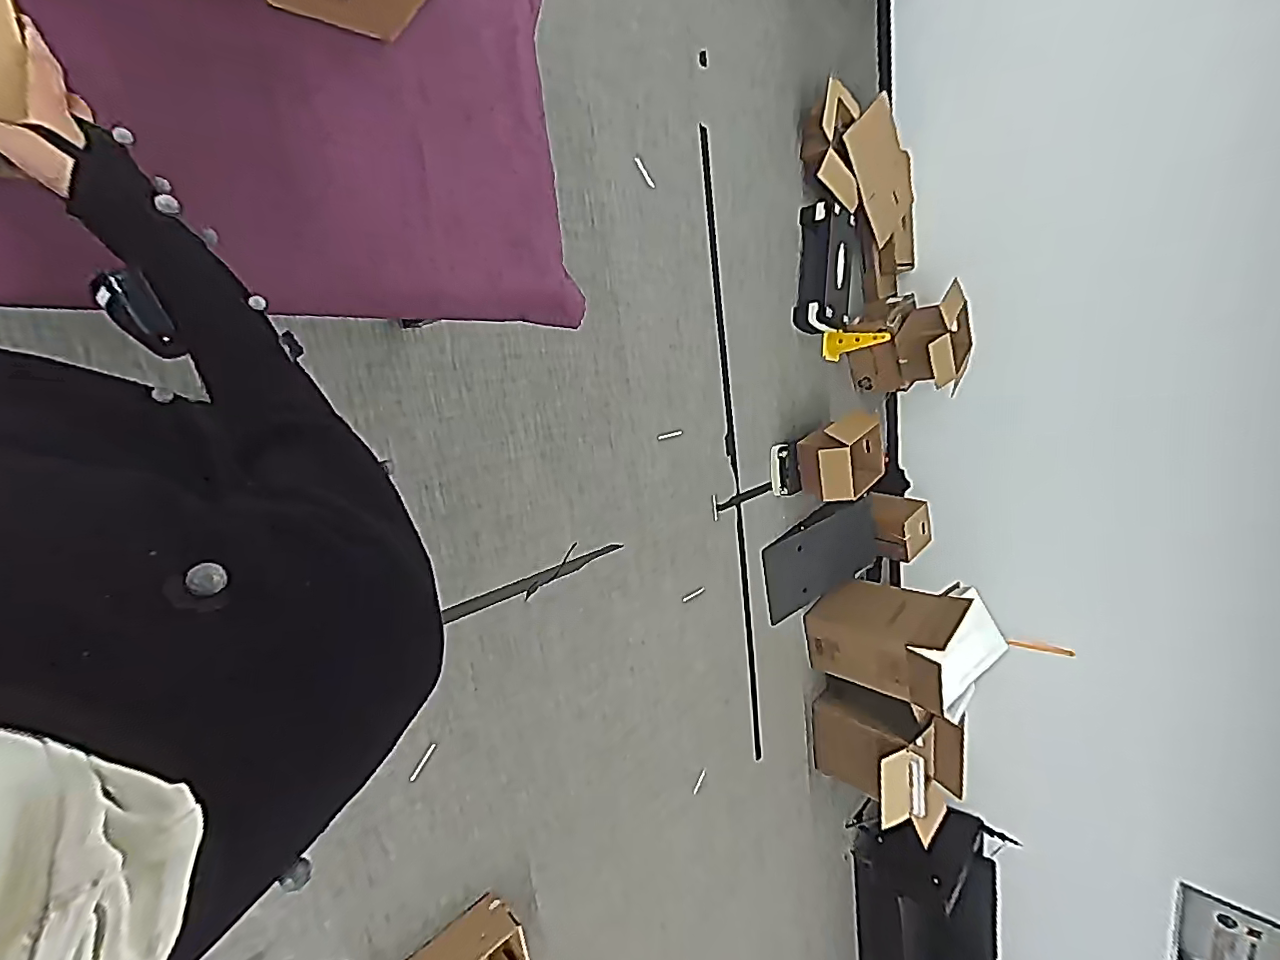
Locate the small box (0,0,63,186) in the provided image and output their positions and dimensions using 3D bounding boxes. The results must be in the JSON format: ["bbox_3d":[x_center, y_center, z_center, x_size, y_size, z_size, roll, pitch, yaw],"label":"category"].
[{"bbox_3d":[-0.591,-0.339,0.416,0.179,0.176,0.168,-18,112,-39],"label":"small box"}]

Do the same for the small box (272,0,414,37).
[{"bbox_3d":[-0.404,-0.739,0.720,0.179,0.176,0.168,-17,108,-41],"label":"small box"}]
